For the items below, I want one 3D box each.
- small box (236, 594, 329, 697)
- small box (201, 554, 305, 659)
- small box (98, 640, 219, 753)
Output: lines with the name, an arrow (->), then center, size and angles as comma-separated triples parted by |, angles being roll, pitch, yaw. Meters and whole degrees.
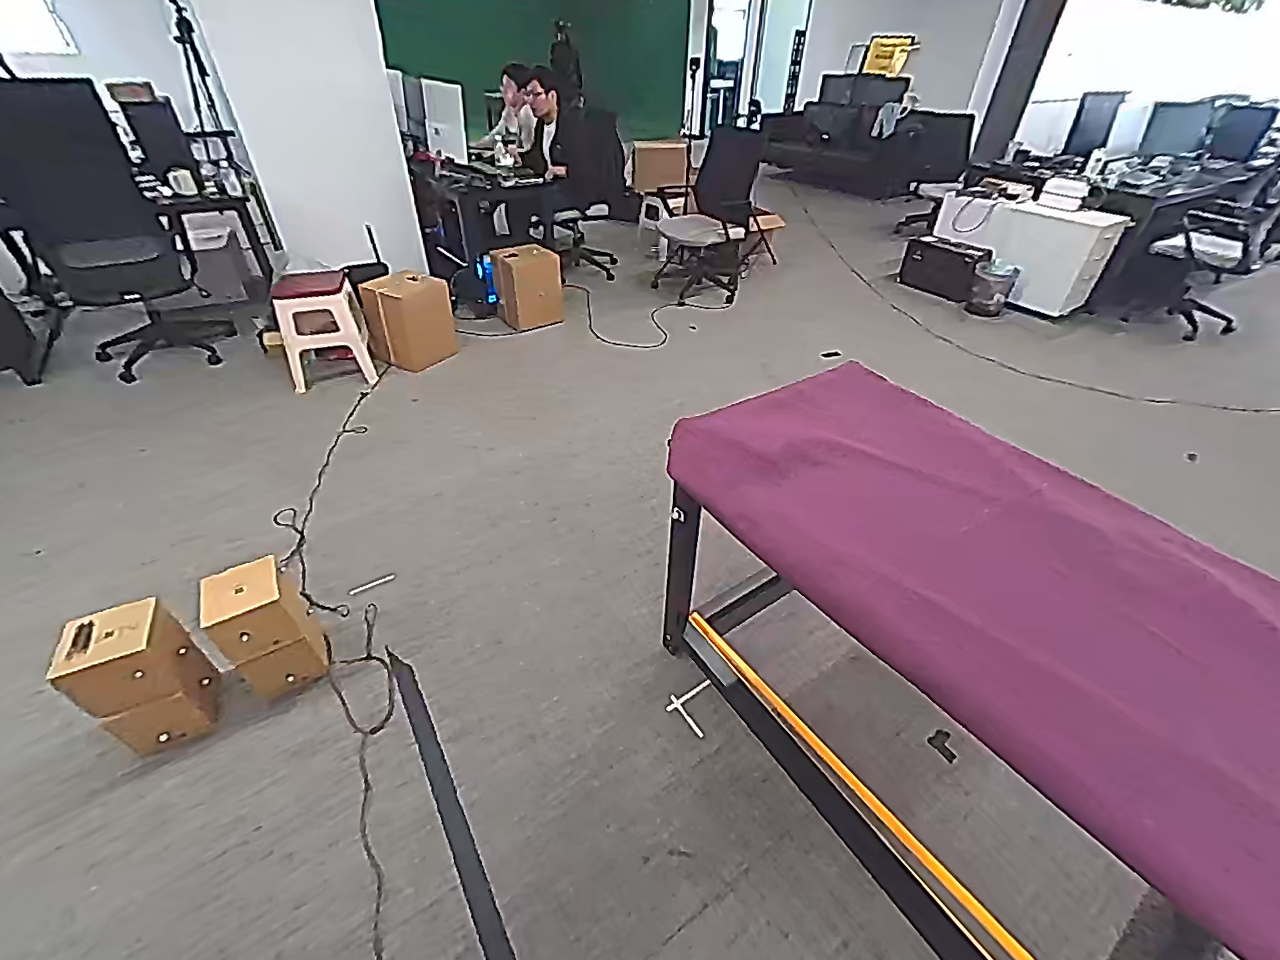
small box -> -0.978, 0.453, 1.481 | 0.168, 0.176, 0.179 | -22, 45, -24
small box -> -0.980, 0.328, 1.377 | 0.168, 0.176, 0.179 | -22, 44, -24
small box -> -1.197, 0.545, 1.364 | 0.168, 0.176, 0.179 | -17, 43, -21
